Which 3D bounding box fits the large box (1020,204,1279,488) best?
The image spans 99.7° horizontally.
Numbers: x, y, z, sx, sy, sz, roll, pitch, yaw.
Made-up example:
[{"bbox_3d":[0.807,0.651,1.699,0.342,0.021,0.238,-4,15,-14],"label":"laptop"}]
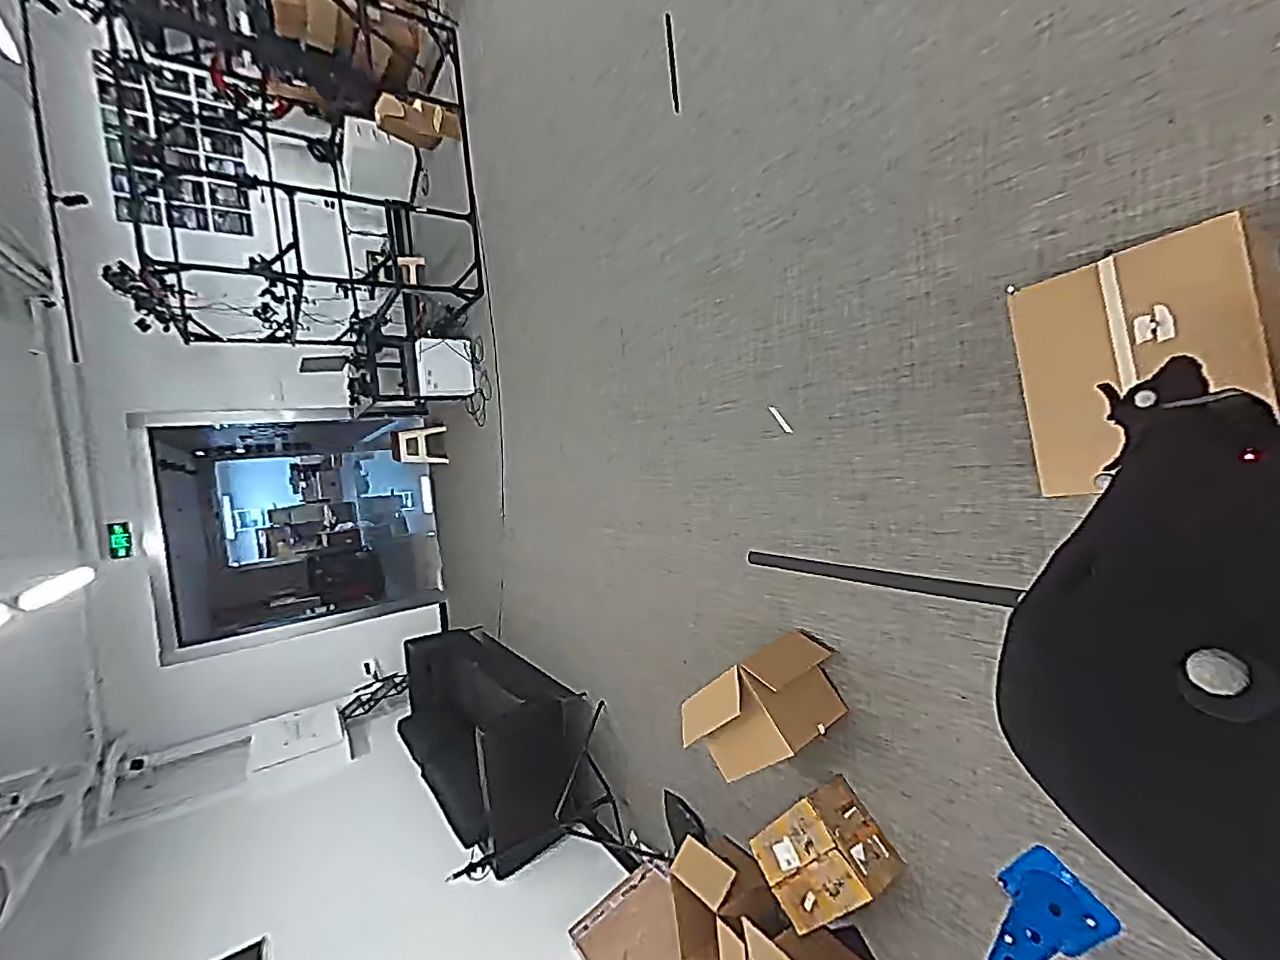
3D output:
[{"bbox_3d":[0.971,-0.209,0.988,0.320,0.320,0.408,-12,85,57],"label":"large box"}]
